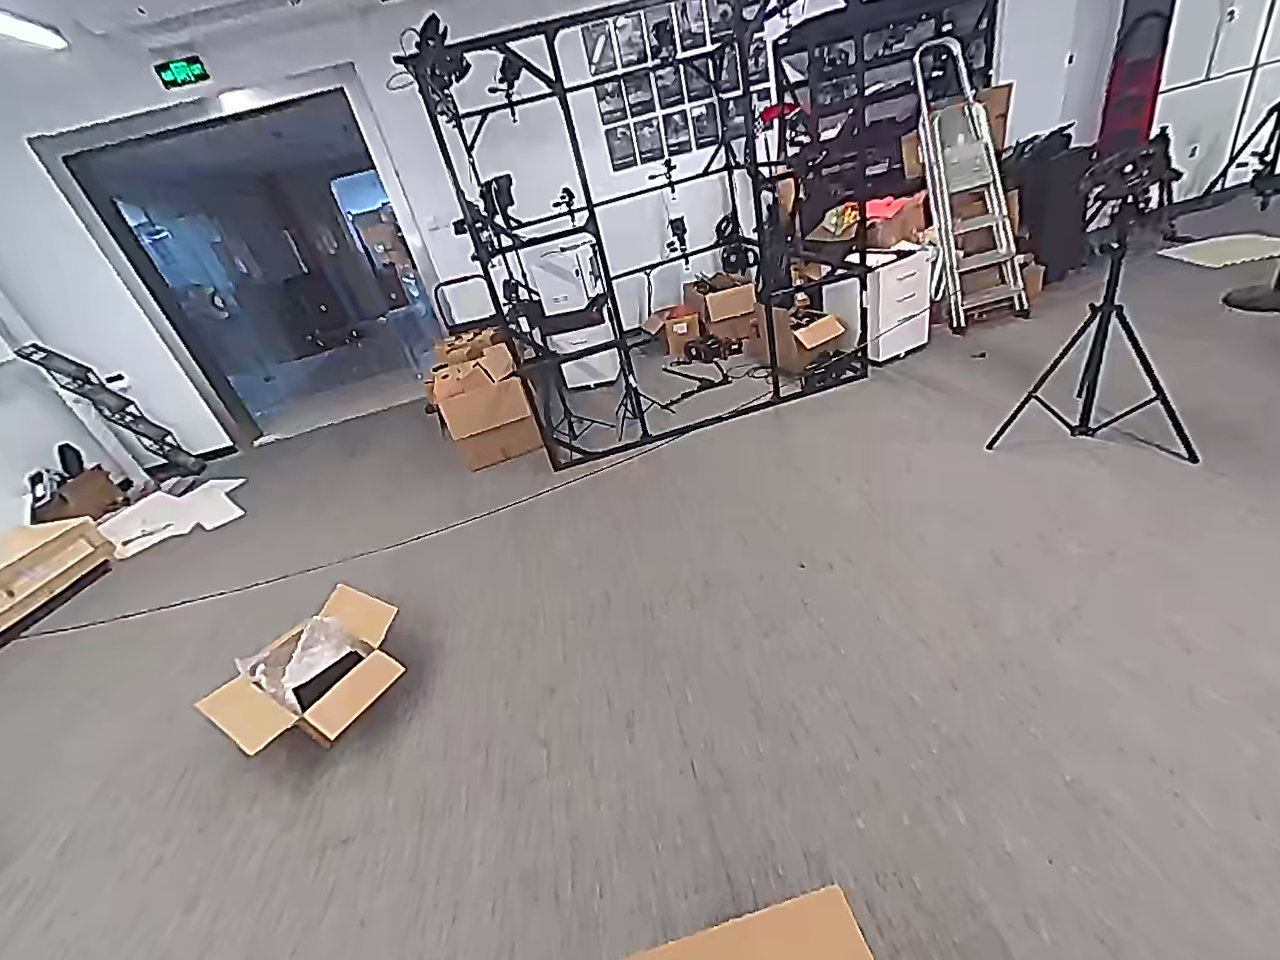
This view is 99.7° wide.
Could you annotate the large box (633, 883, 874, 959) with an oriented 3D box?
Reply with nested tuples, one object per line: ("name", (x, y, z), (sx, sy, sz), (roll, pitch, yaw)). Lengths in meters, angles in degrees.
("large box", (0.222, 0.960, 0.875), (0.408, 0.320, 0.320), (-17, 30, -3))
